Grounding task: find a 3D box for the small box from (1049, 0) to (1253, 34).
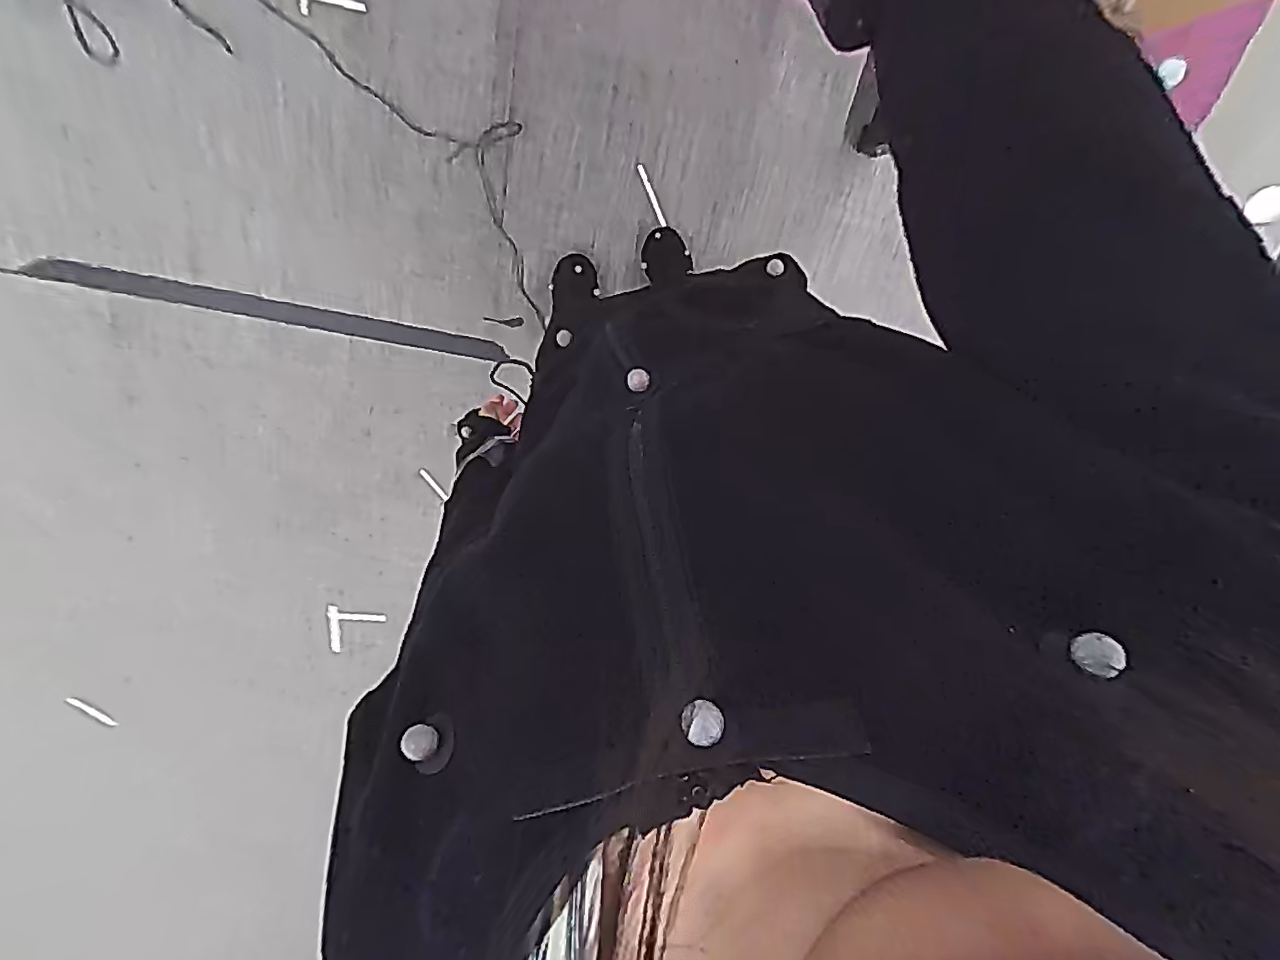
[{"bbox_3d":[0.466,-0.504,0.427,0.168,0.176,0.179,8,114,-10],"label":"small box"}]
